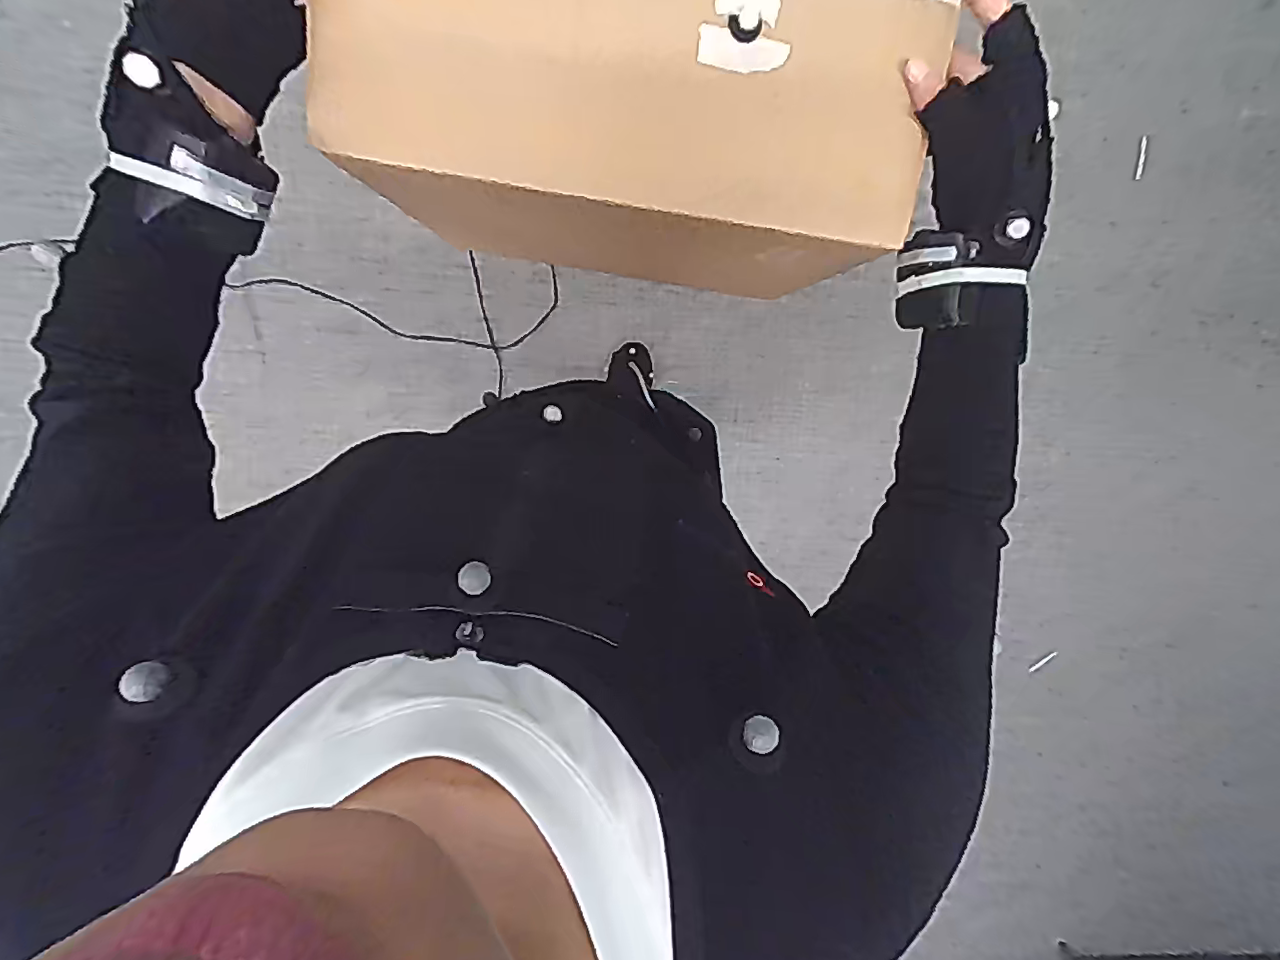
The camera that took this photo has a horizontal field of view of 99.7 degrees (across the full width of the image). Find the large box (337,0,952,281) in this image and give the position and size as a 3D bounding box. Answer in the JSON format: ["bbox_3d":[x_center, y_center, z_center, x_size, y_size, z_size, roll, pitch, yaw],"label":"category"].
[{"bbox_3d":[0.005,-0.385,0.487,0.408,0.320,0.320,7,103,-4],"label":"large box"}]
